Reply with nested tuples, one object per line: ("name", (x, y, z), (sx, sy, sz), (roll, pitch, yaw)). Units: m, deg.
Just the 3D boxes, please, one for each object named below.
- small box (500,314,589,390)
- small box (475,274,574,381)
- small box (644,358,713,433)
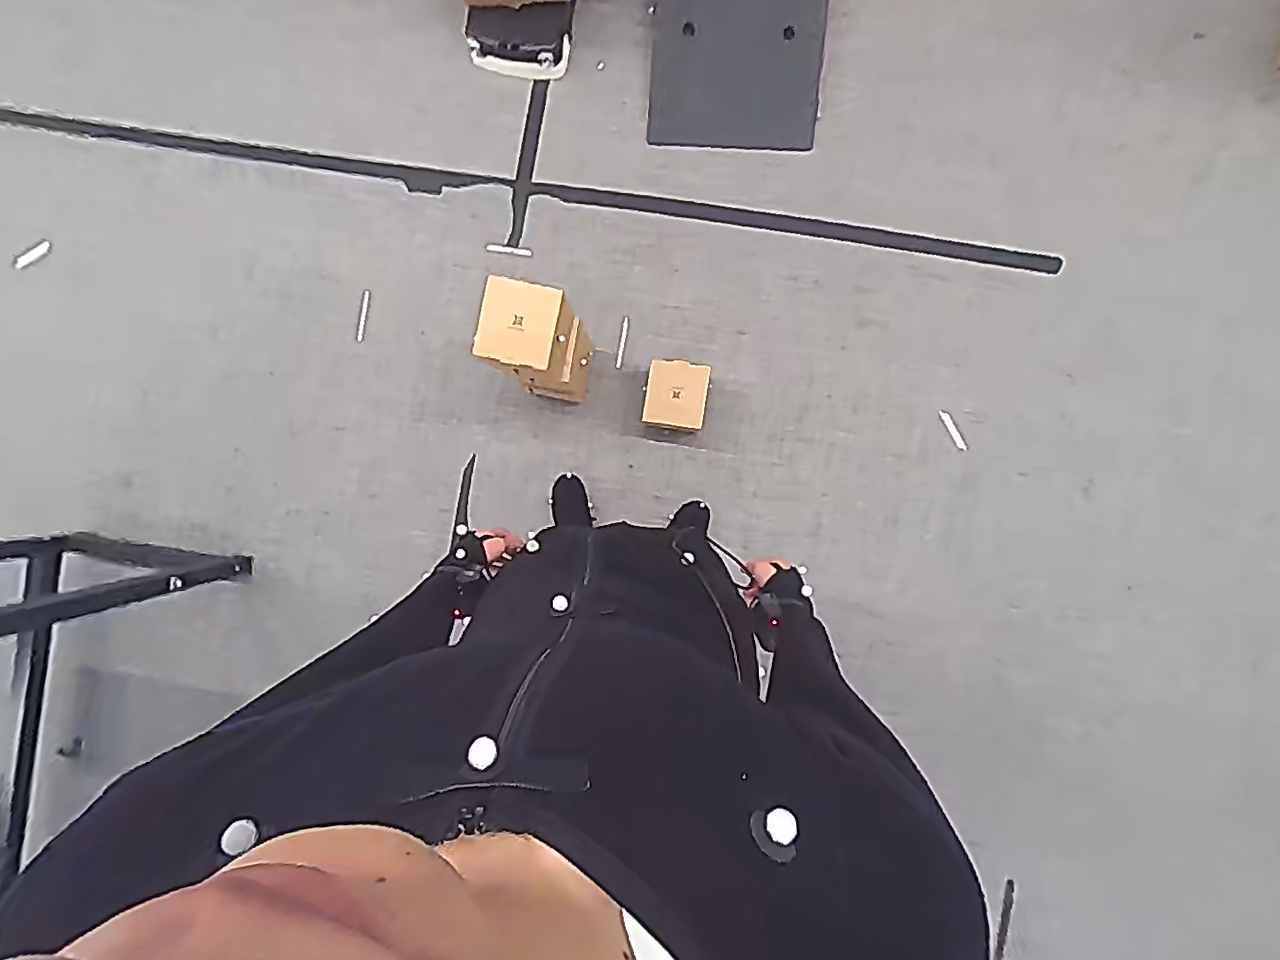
("small box", (-0.238, -0.332, 1.382), (0.179, 0.176, 0.168), (10, 92, 1))
("small box", (-0.252, -0.336, 1.219), (0.168, 0.176, 0.179), (12, 92, 1))
("small box", (0.107, -0.235, 1.538), (0.168, 0.176, 0.179), (9, 93, 3))
